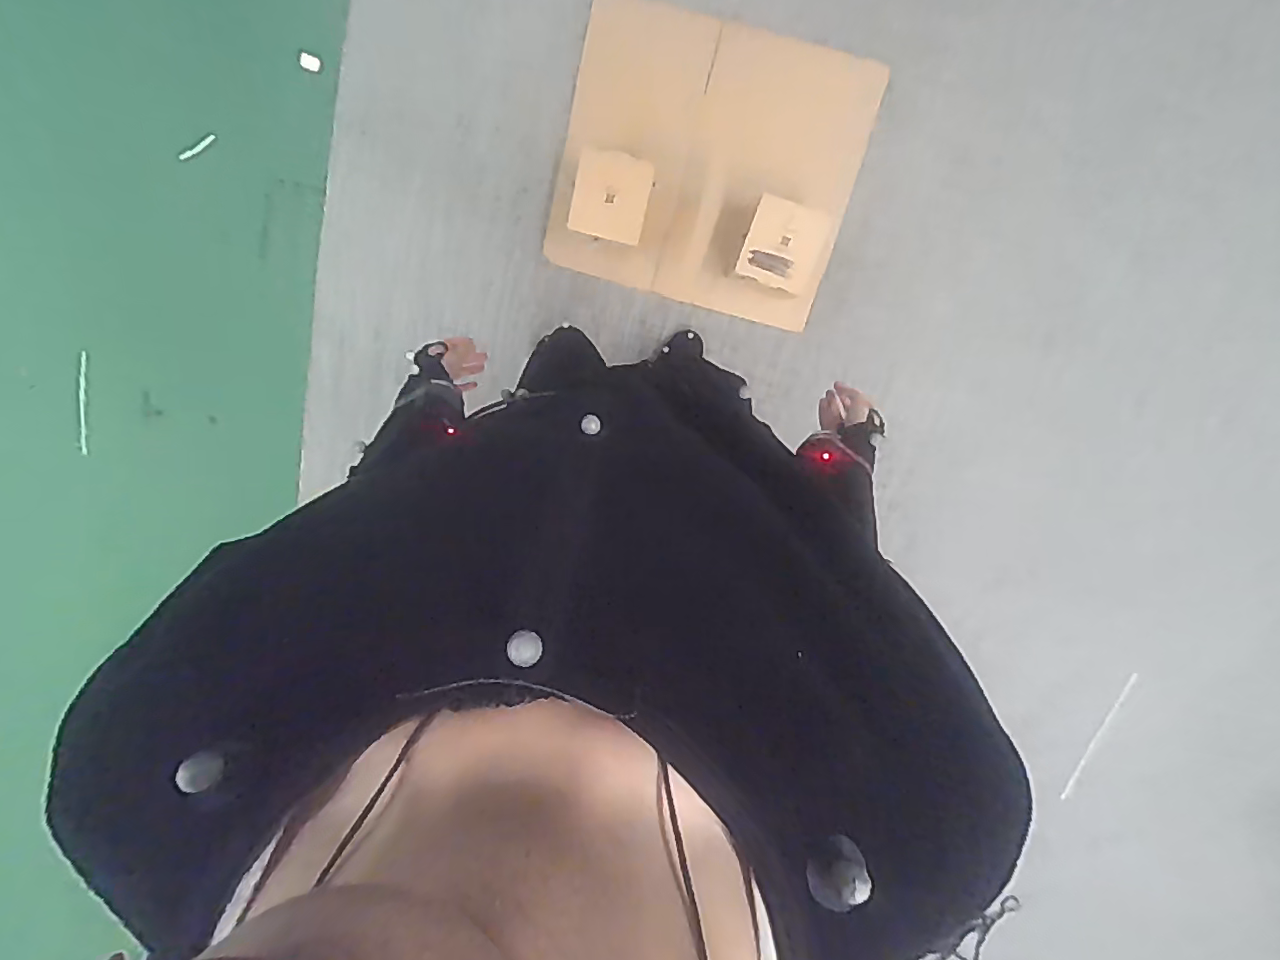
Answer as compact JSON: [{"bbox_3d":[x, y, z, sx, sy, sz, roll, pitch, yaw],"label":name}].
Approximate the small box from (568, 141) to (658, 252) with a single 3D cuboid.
[{"bbox_3d":[-0.055,-0.641,1.249,0.168,0.176,0.179,14,105,0],"label":"small box"}]
